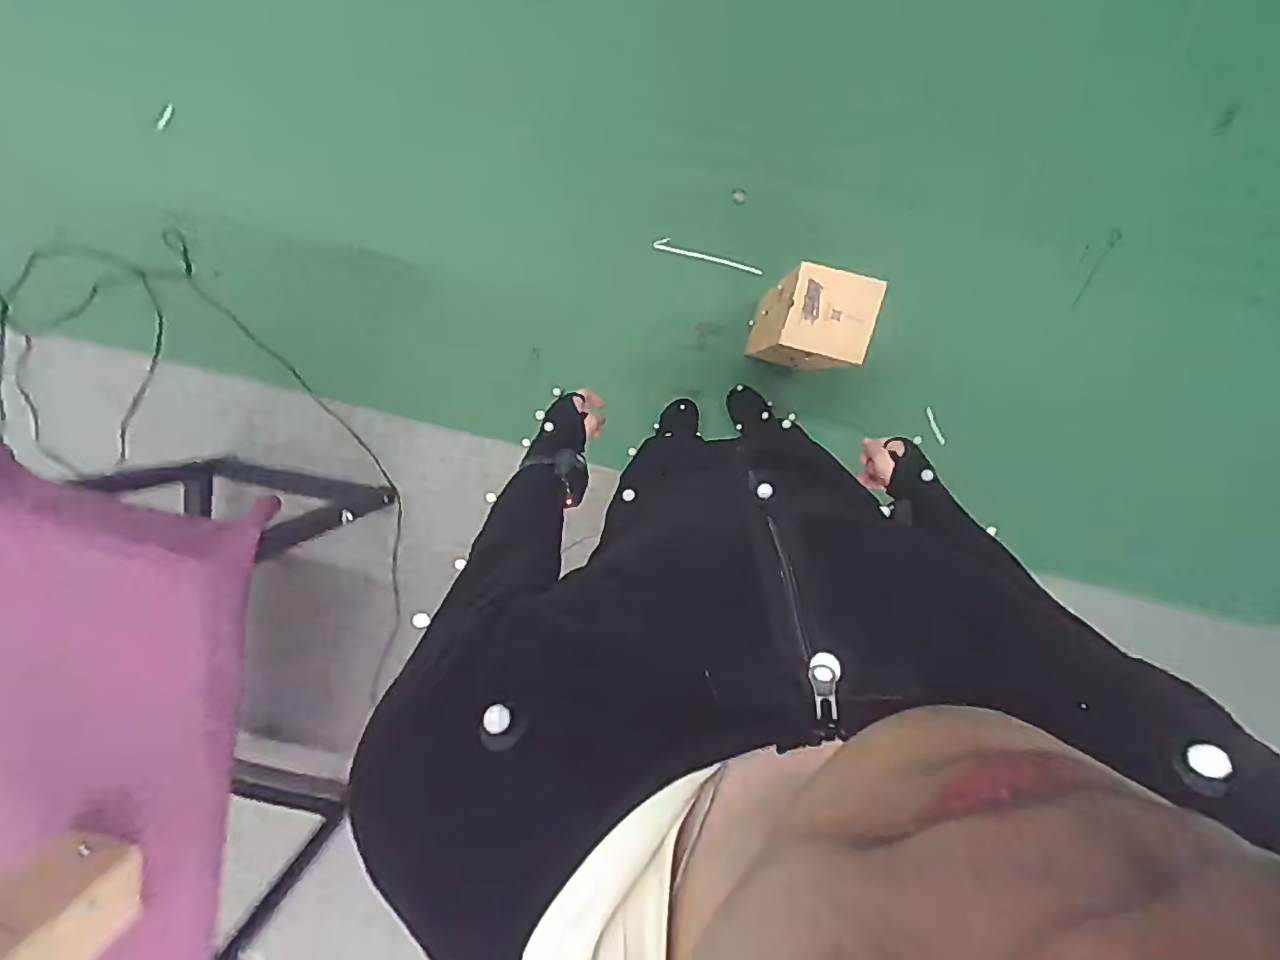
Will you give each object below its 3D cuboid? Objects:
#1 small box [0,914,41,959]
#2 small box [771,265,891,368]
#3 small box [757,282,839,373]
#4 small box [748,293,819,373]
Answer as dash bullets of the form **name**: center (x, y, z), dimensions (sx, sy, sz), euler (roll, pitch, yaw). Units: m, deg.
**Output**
- **small box**: center (-1.140, 0.841, 0.875), dimensions (0.168, 0.176, 0.179), euler (13, 100, 2)
- **small box**: center (0.392, -0.336, 1.148), dimensions (0.179, 0.176, 0.168), euler (15, 101, 0)
- **small box**: center (0.400, -0.363, 1.309), dimensions (0.179, 0.176, 0.168), euler (15, 100, 1)
- **small box**: center (0.409, -0.393, 1.468), dimensions (0.179, 0.176, 0.168), euler (16, 100, 0)
